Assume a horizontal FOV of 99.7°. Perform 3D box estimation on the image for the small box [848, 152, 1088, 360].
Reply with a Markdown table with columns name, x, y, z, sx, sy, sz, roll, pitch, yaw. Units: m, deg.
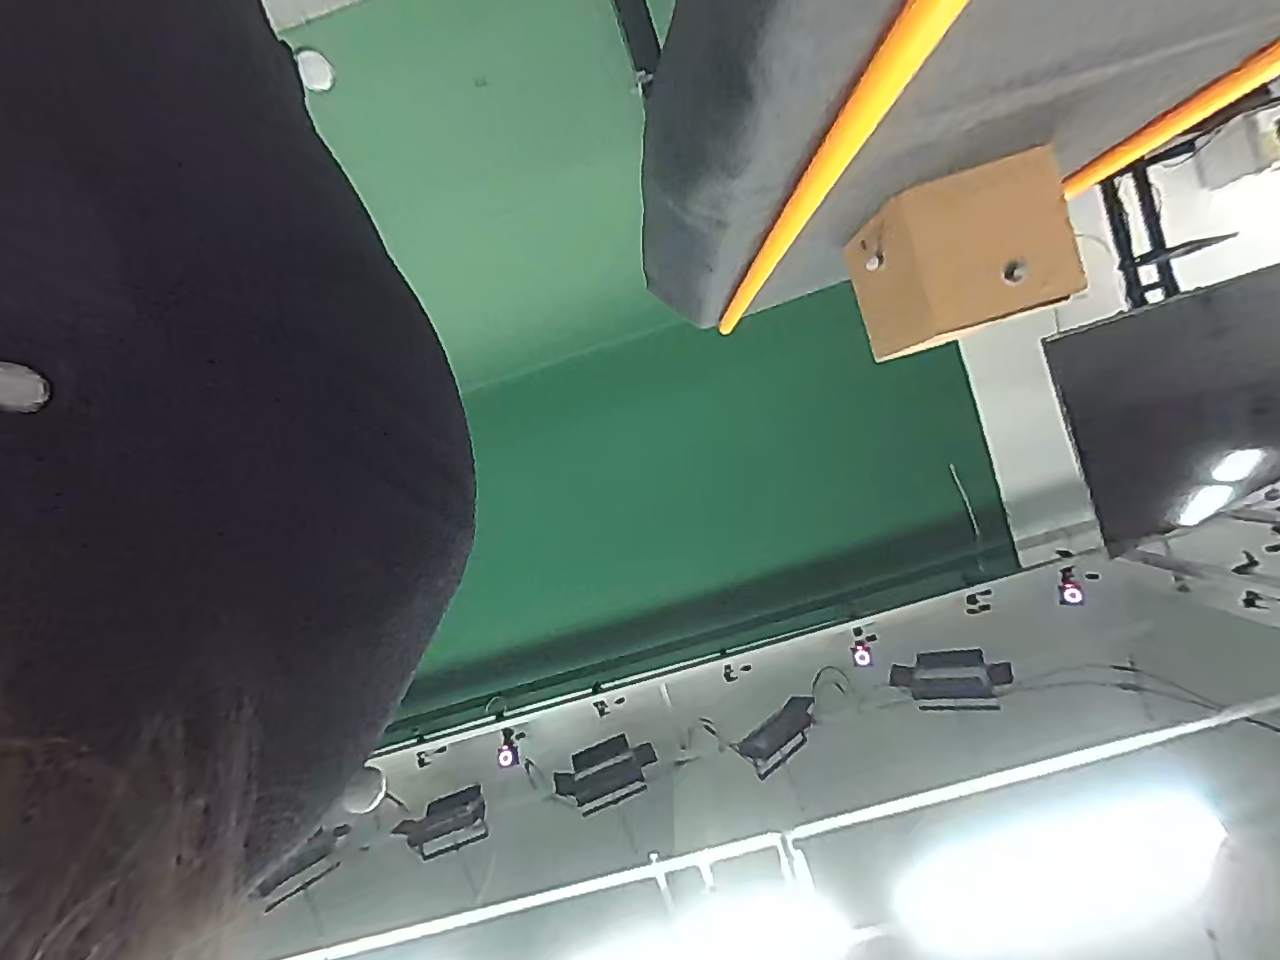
| name | x | y | z | sx | sy | sz | roll | pitch | yaw |
| --- | --- | --- | --- | --- | --- | --- | --- | --- | --- |
| small box | 0.388 | -0.267 | 0.669 | 0.179 | 0.176 | 0.168 | -17 | -177 | 1 |
